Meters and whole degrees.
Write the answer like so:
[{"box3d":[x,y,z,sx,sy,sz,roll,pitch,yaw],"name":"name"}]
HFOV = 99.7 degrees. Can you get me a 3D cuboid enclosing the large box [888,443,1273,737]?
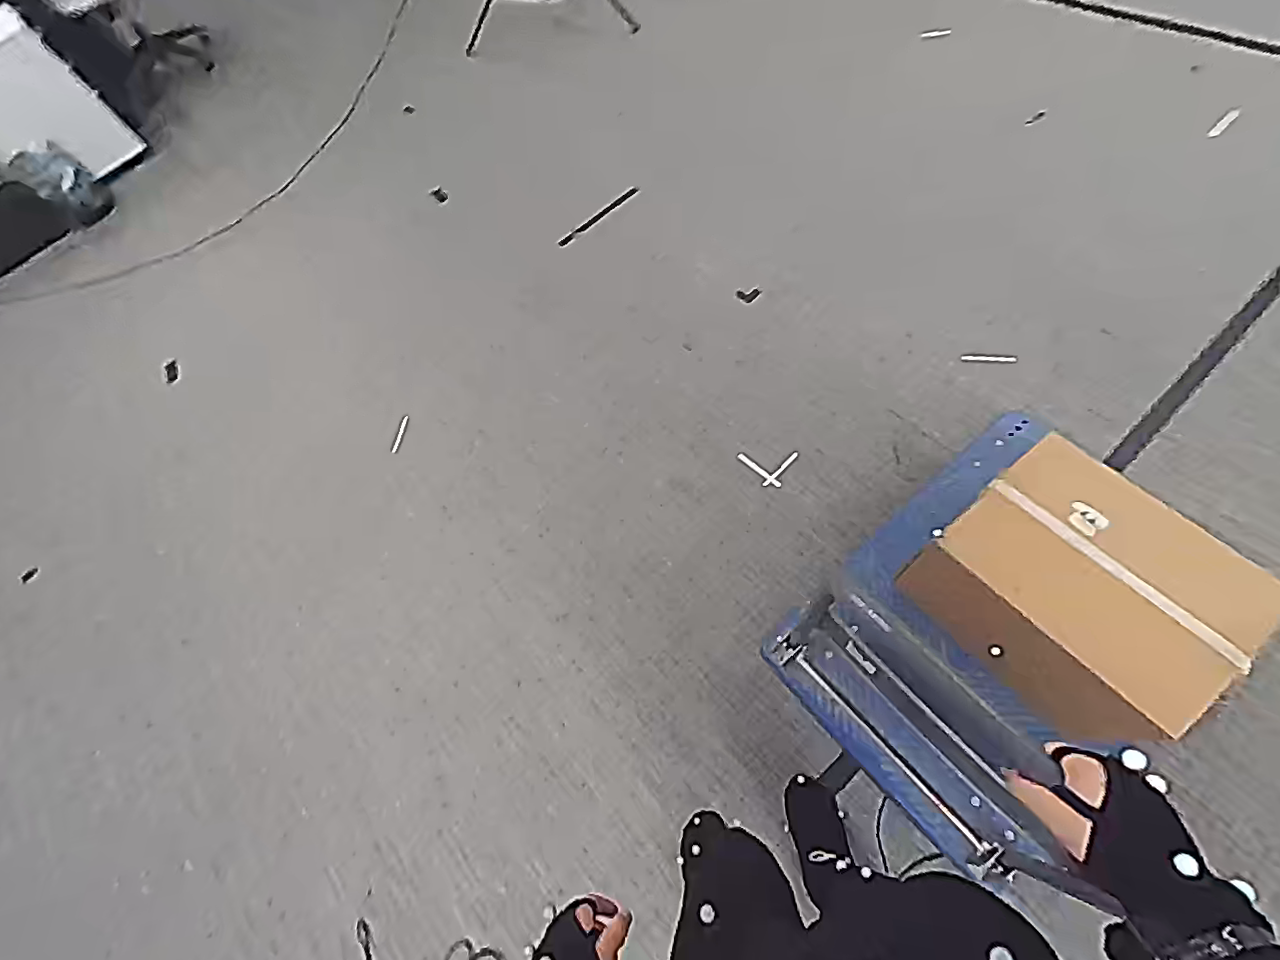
[{"box3d":[0.763,0.214,1.021,0.320,0.320,0.408,-39,63,-10],"name":"large box"}]
